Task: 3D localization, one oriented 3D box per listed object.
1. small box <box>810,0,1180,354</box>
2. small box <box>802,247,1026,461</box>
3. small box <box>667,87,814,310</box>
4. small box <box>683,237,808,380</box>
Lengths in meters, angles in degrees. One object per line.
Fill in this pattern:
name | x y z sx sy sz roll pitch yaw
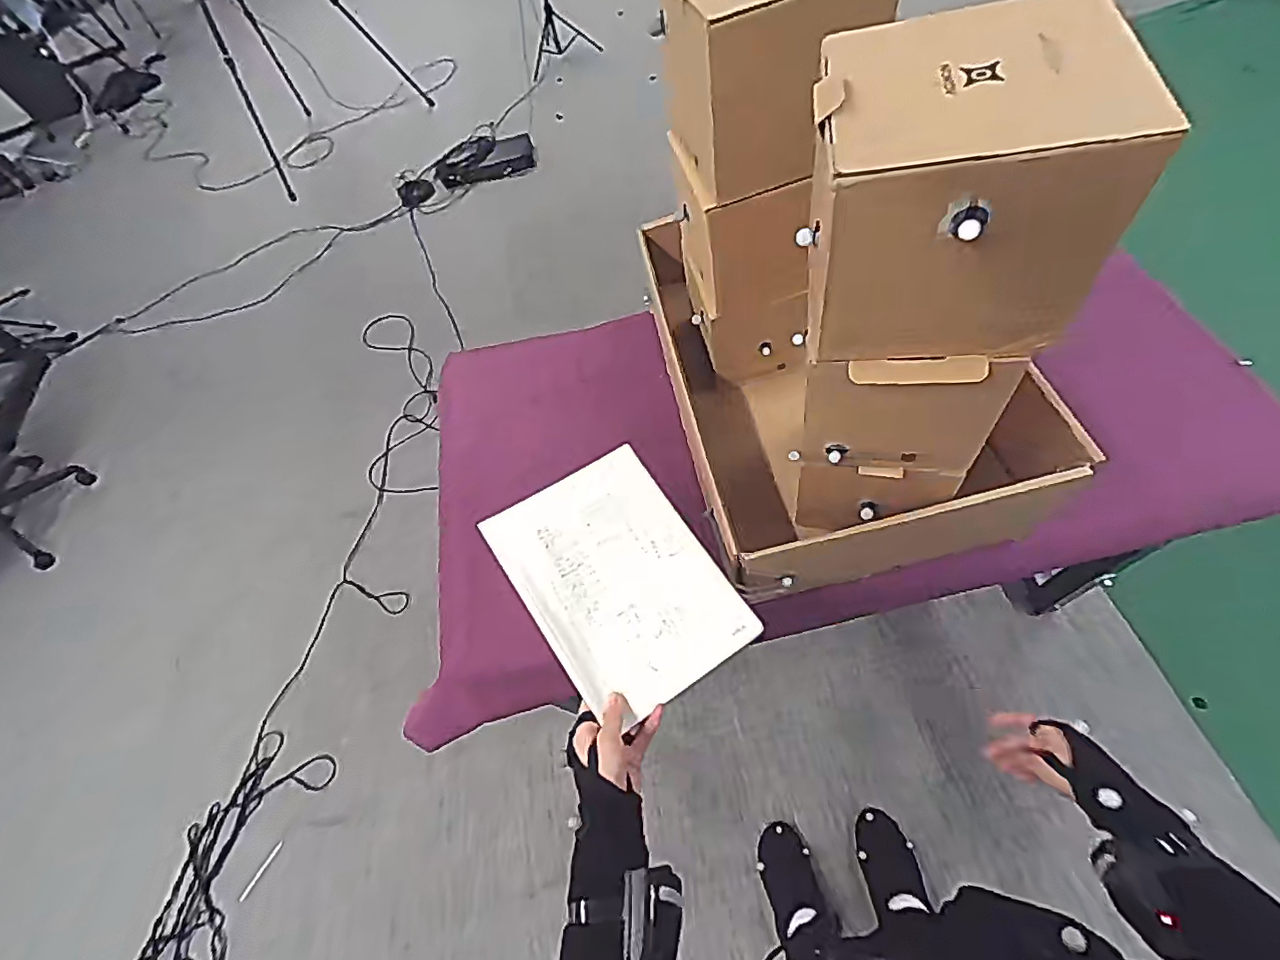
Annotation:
small box | 0.219 -0.209 0.399 0.179 0.176 0.168 1 61 15
small box | 0.252 -0.132 0.539 0.168 0.176 0.179 3 61 16
small box | 0.148 -0.348 0.690 0.179 0.176 0.168 -17 61 3
small box | 0.173 -0.274 0.832 0.168 0.176 0.179 -15 61 4
